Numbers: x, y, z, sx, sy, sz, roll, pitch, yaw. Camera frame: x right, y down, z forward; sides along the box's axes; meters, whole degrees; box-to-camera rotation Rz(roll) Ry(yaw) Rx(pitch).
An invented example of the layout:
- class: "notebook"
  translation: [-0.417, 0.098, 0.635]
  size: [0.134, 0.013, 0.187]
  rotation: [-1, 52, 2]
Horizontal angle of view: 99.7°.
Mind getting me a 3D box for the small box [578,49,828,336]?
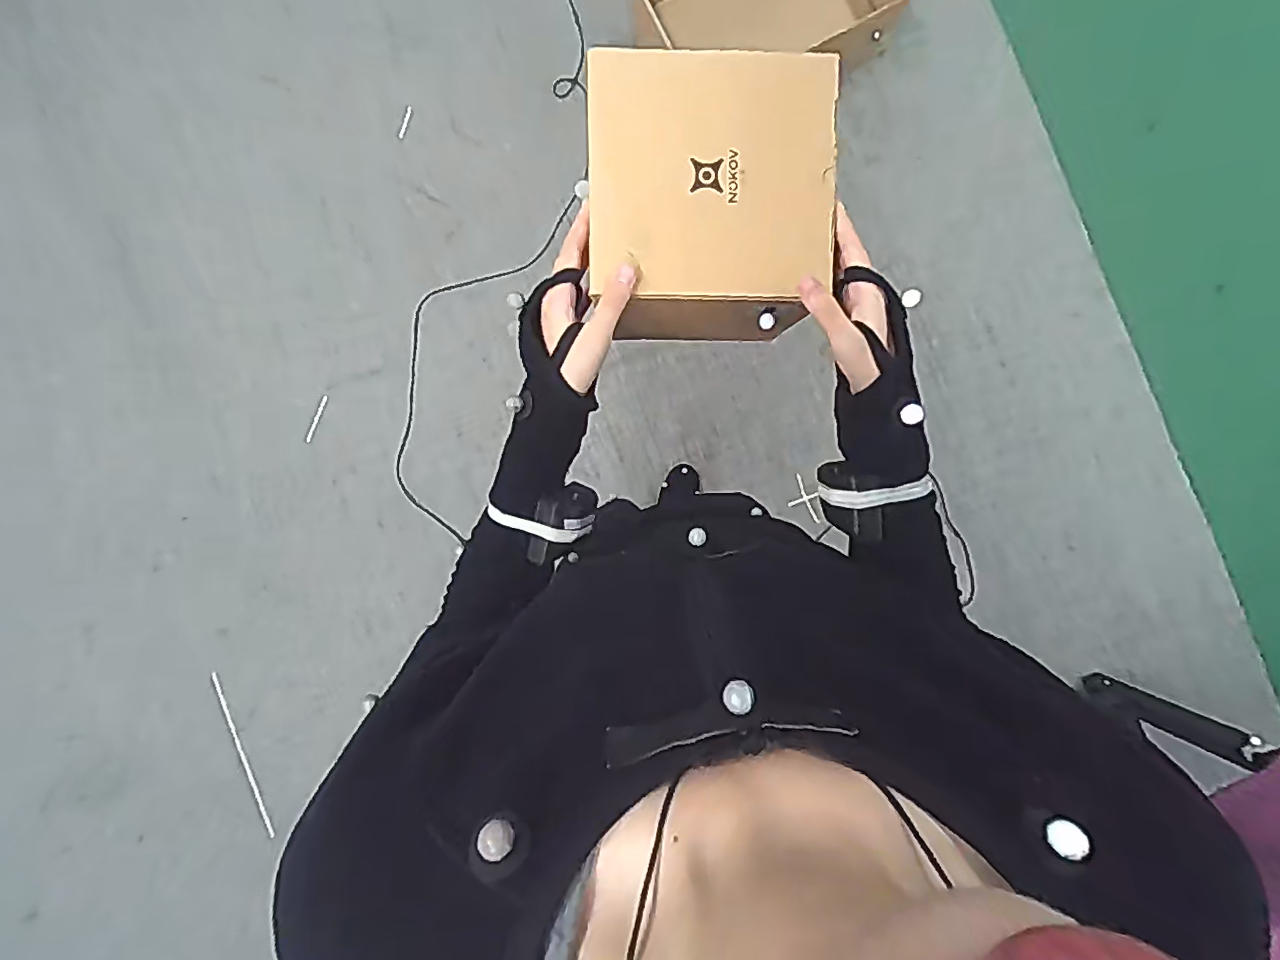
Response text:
- class: "small box"
  translation: [0.042, -0.221, 0.460]
  size: [0.179, 0.176, 0.168]
  rotation: [0, 95, -2]
